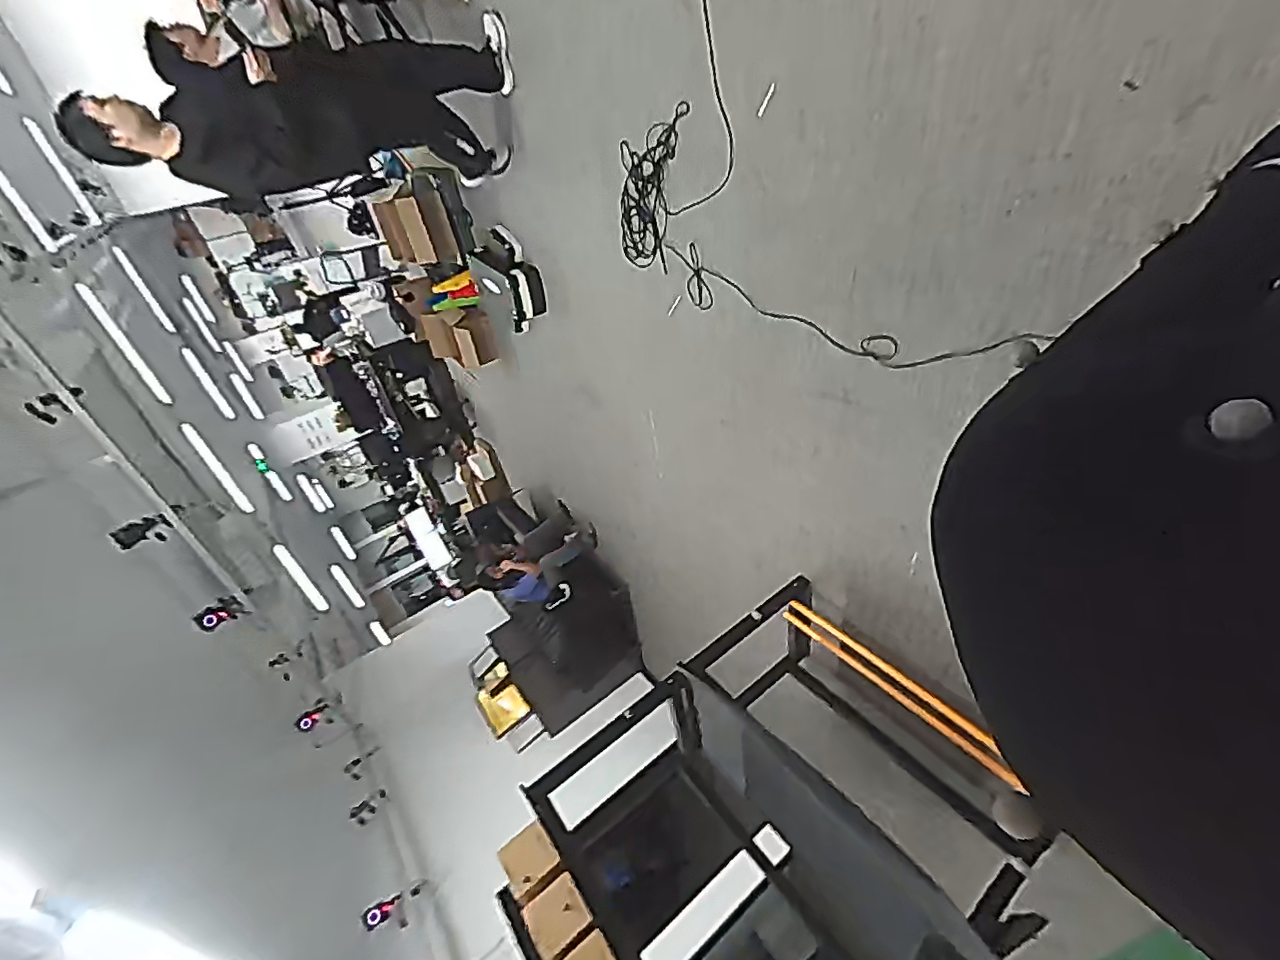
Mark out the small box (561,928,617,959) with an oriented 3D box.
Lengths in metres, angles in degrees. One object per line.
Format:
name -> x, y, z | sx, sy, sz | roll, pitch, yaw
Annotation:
small box -> -0.130, 1.452, 1.553 | 0.168, 0.176, 0.179 | 34, 144, 46
